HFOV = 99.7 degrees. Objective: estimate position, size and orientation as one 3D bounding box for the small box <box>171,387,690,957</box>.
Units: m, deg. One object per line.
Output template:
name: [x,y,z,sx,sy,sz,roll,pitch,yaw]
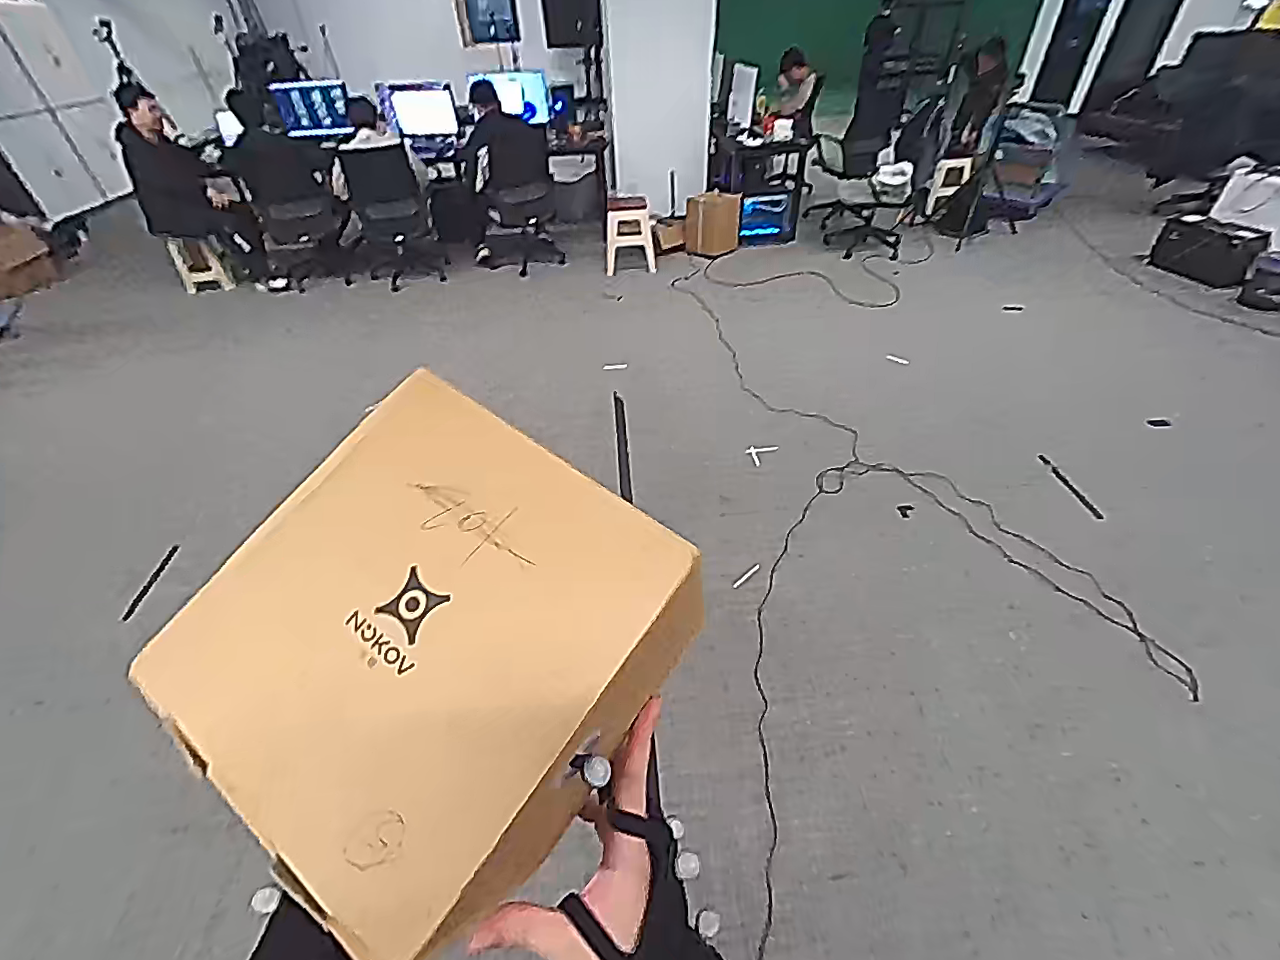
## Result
small box: [-0.080,0.089,0.302,0.168,0.176,0.179,31,73,18]
